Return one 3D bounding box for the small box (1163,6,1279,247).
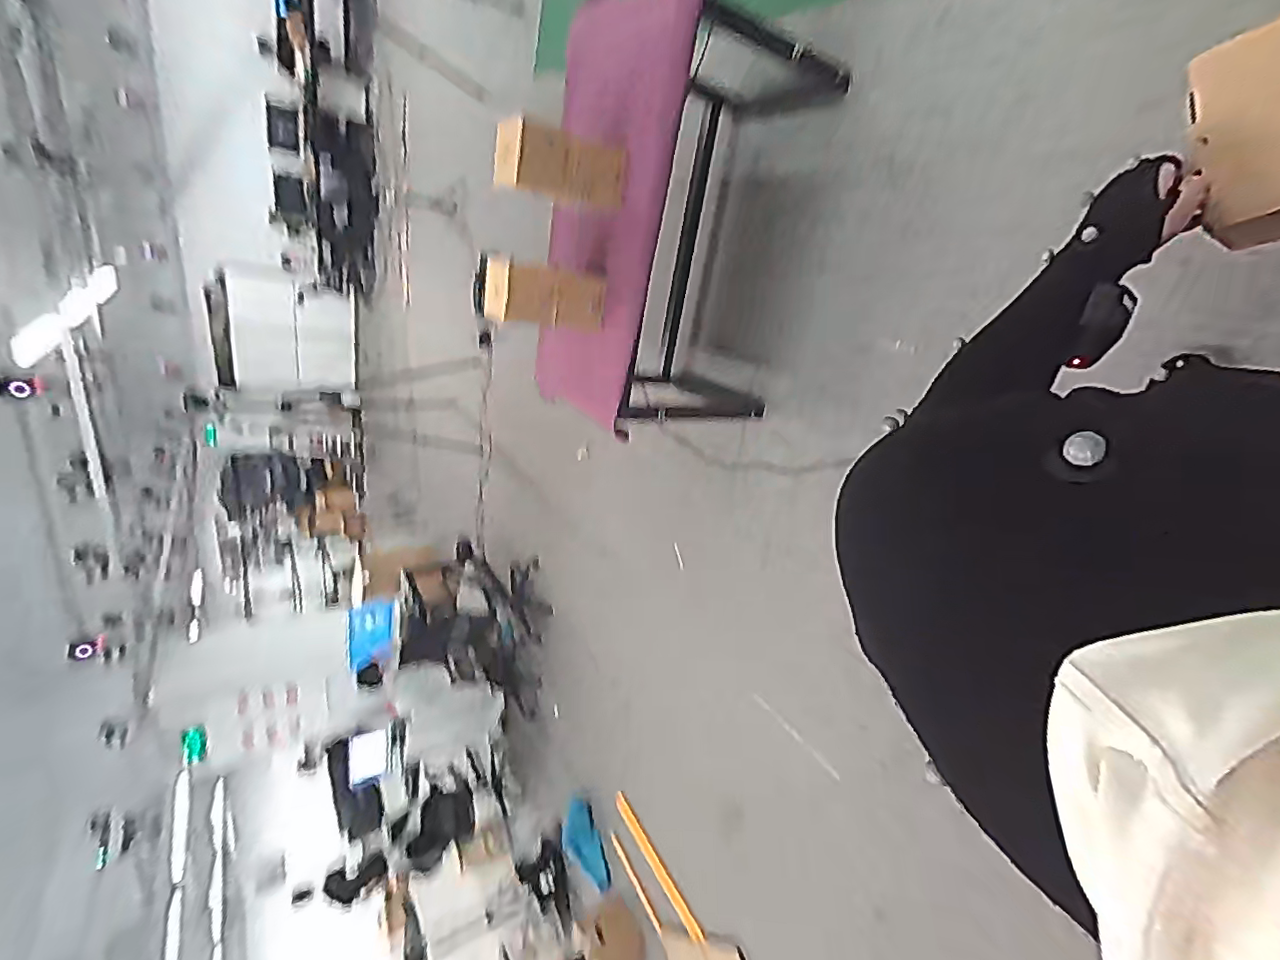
[{"bbox_3d":[0.629,-0.334,0.498,0.179,0.176,0.168,-7,92,54],"label":"small box"}]

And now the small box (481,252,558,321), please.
[{"bbox_3d":[-0.370,-0.589,1.652,0.179,0.176,0.168,35,122,46],"label":"small box"}]

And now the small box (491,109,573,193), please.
[{"bbox_3d":[-0.303,-0.914,1.512,0.179,0.176,0.168,37,123,47],"label":"small box"}]

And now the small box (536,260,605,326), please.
[{"bbox_3d":[-0.237,-0.601,1.744,0.179,0.176,0.168,37,124,46],"label":"small box"}]
